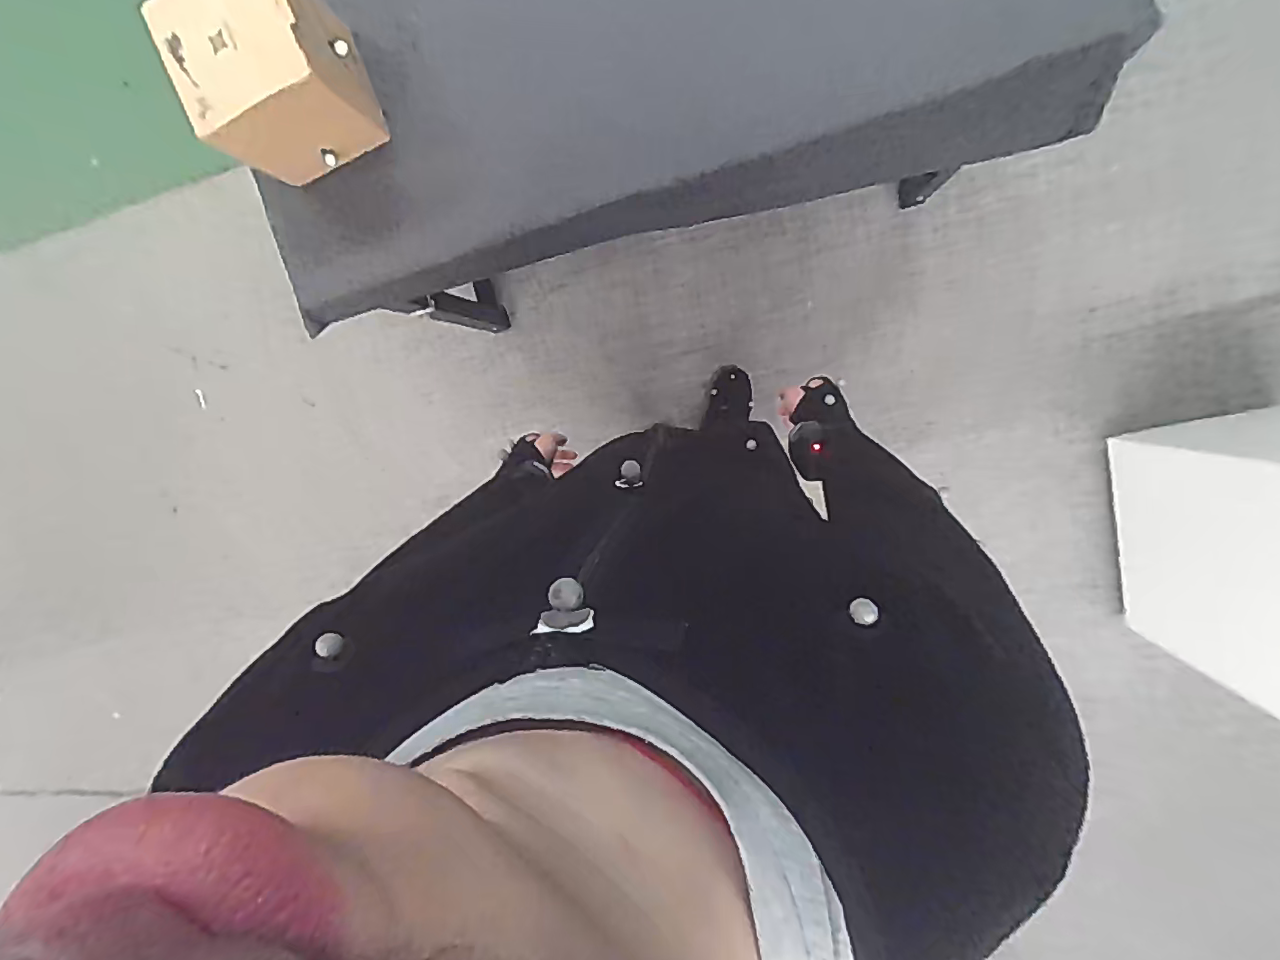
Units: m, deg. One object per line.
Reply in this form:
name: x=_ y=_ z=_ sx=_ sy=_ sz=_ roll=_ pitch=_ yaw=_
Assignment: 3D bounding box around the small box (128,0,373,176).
small box: x=-0.482 y=-0.537 z=0.704 sx=0.179 sy=0.176 sz=0.168 roll=-20 pitch=97 yaw=9
